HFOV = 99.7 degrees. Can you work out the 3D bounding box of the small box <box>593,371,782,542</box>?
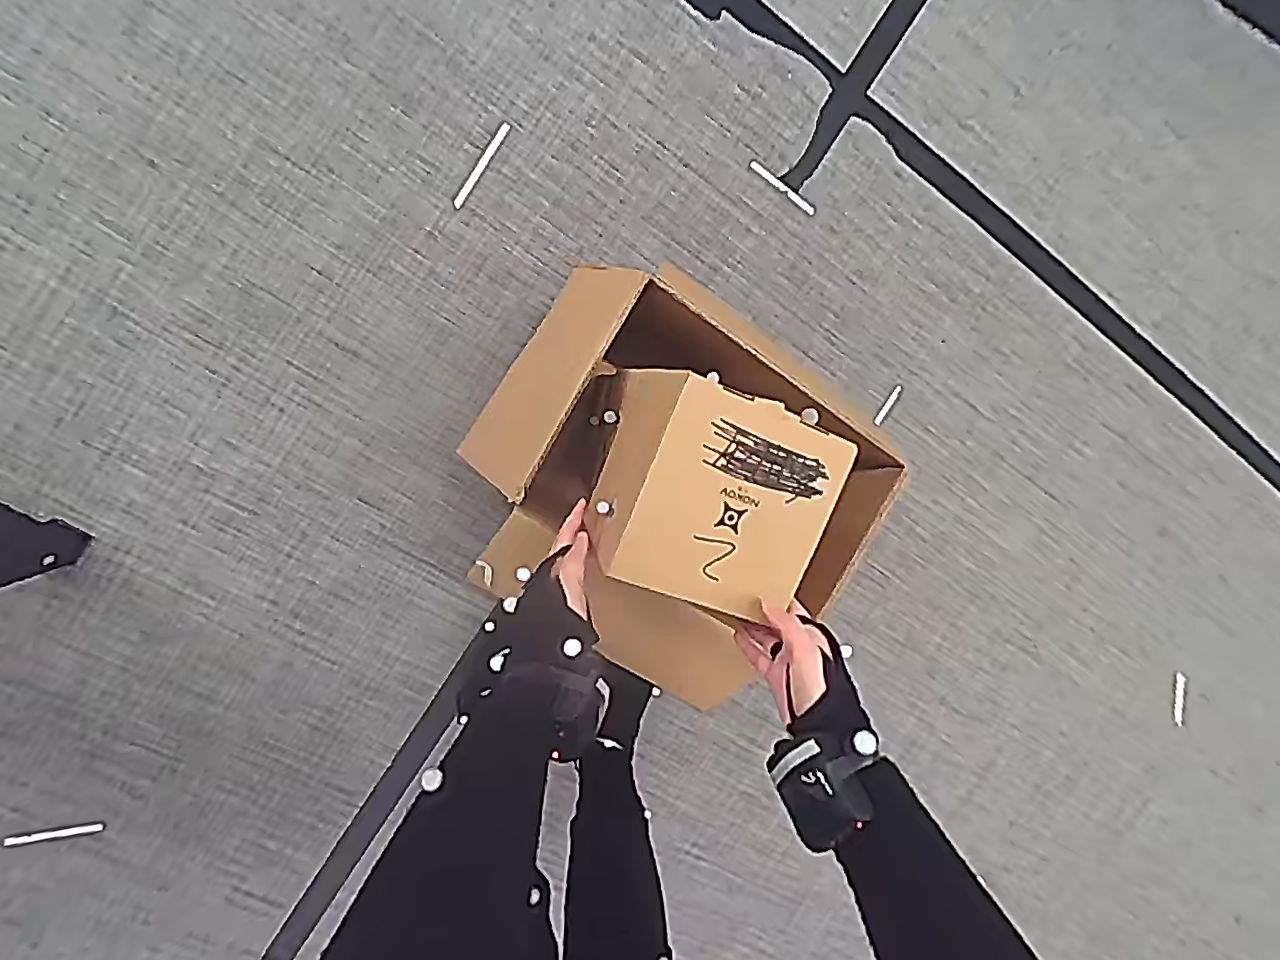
[{"bbox_3d":[0.045,-0.035,0.678,0.179,0.176,0.168,10,98,-14],"label":"small box"}]
